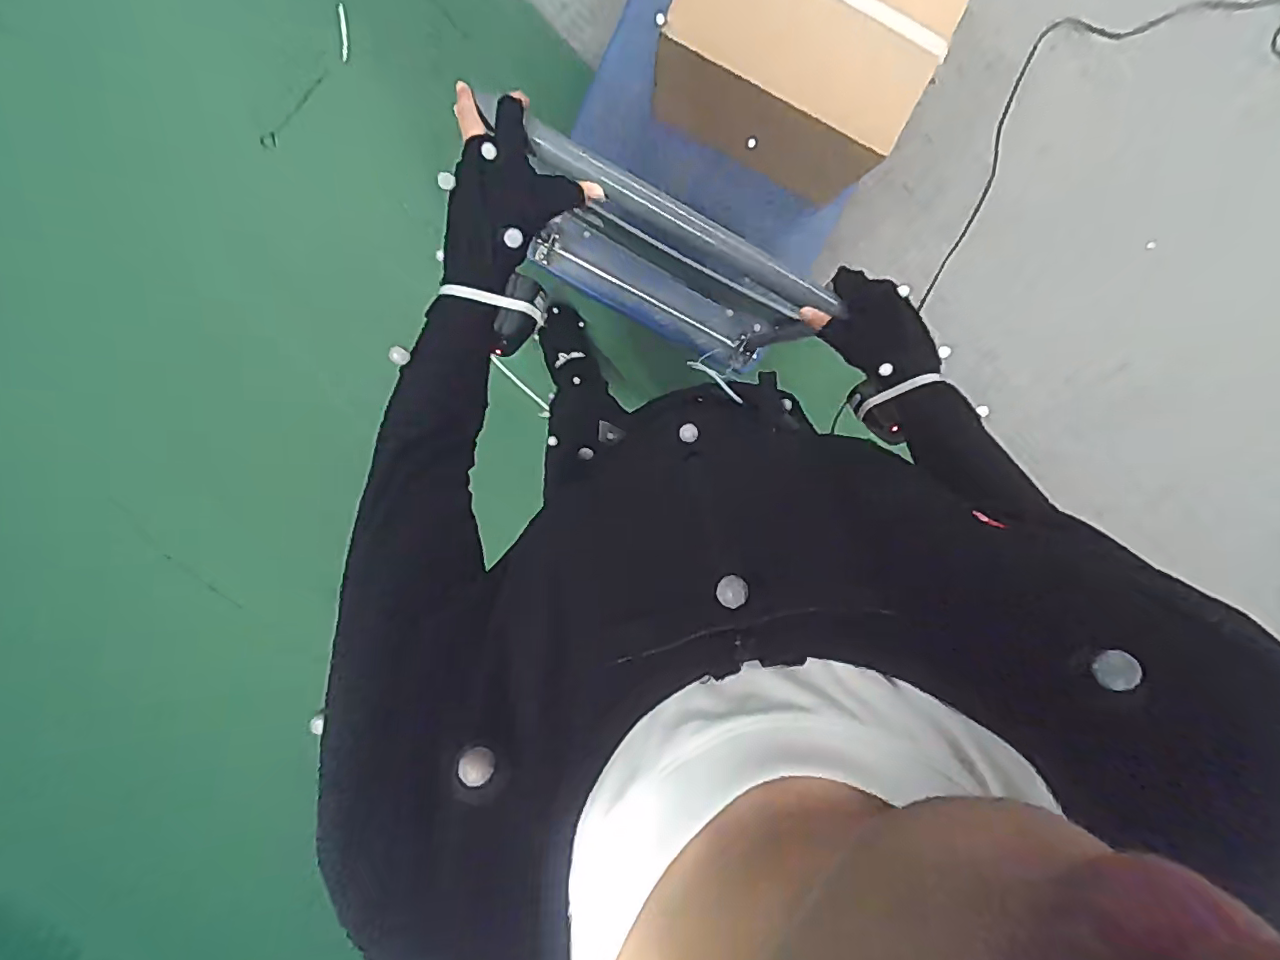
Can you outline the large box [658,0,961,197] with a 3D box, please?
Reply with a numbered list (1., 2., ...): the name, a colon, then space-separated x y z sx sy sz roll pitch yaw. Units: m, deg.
1. large box: 0.274 -0.767 0.951 0.408 0.320 0.320 24 102 -5
